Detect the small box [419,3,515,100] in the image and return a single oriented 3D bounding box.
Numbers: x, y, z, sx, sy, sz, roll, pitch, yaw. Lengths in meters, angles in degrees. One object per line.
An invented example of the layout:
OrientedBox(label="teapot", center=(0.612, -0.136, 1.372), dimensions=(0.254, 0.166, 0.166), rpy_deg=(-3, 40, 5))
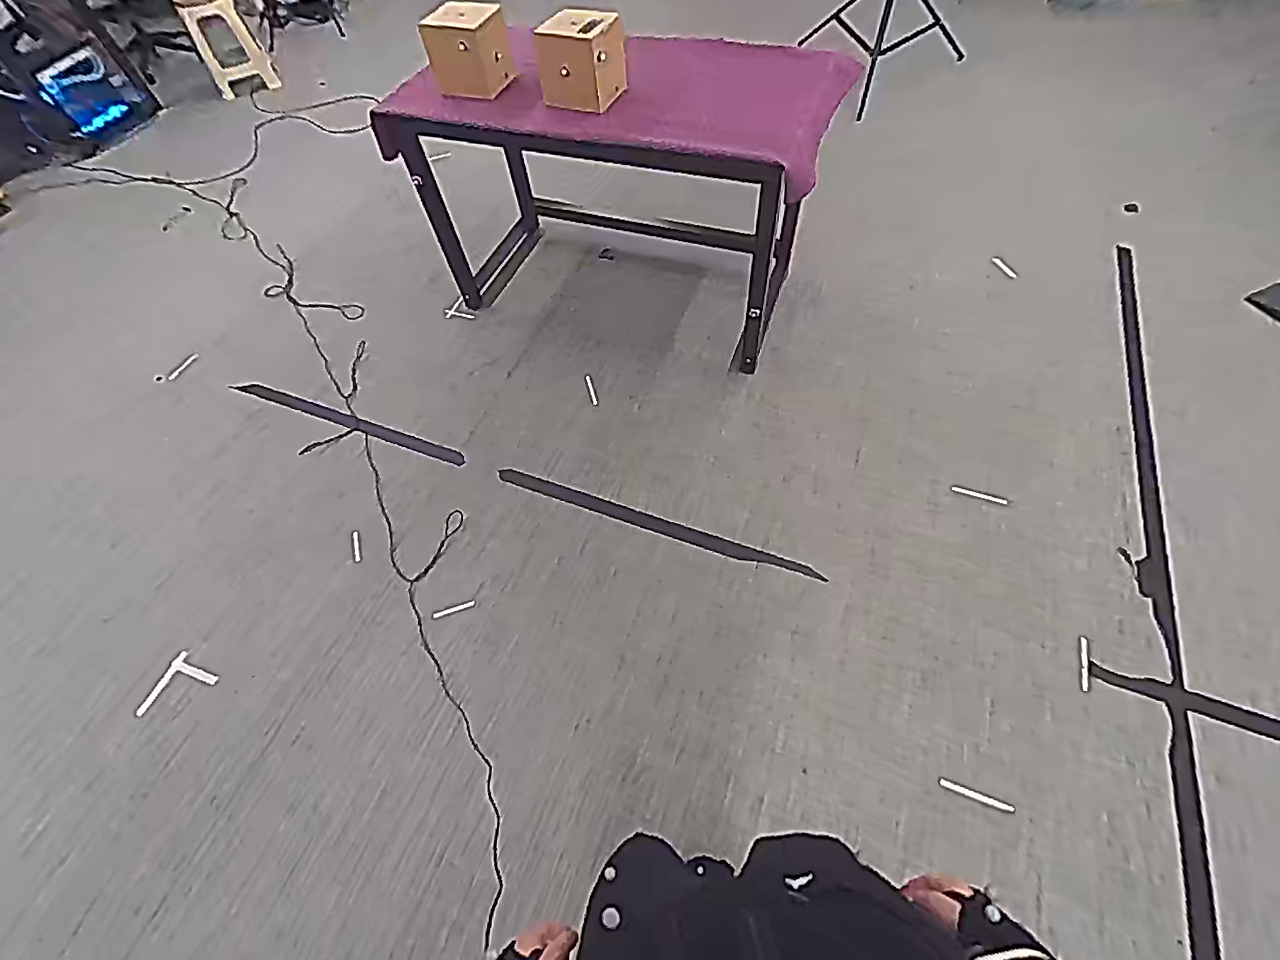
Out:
OrientedBox(label="small box", center=(-0.477, -1.203, 1.524), dimensions=(0.179, 0.176, 0.168), rpy_deg=(14, 59, 13))
